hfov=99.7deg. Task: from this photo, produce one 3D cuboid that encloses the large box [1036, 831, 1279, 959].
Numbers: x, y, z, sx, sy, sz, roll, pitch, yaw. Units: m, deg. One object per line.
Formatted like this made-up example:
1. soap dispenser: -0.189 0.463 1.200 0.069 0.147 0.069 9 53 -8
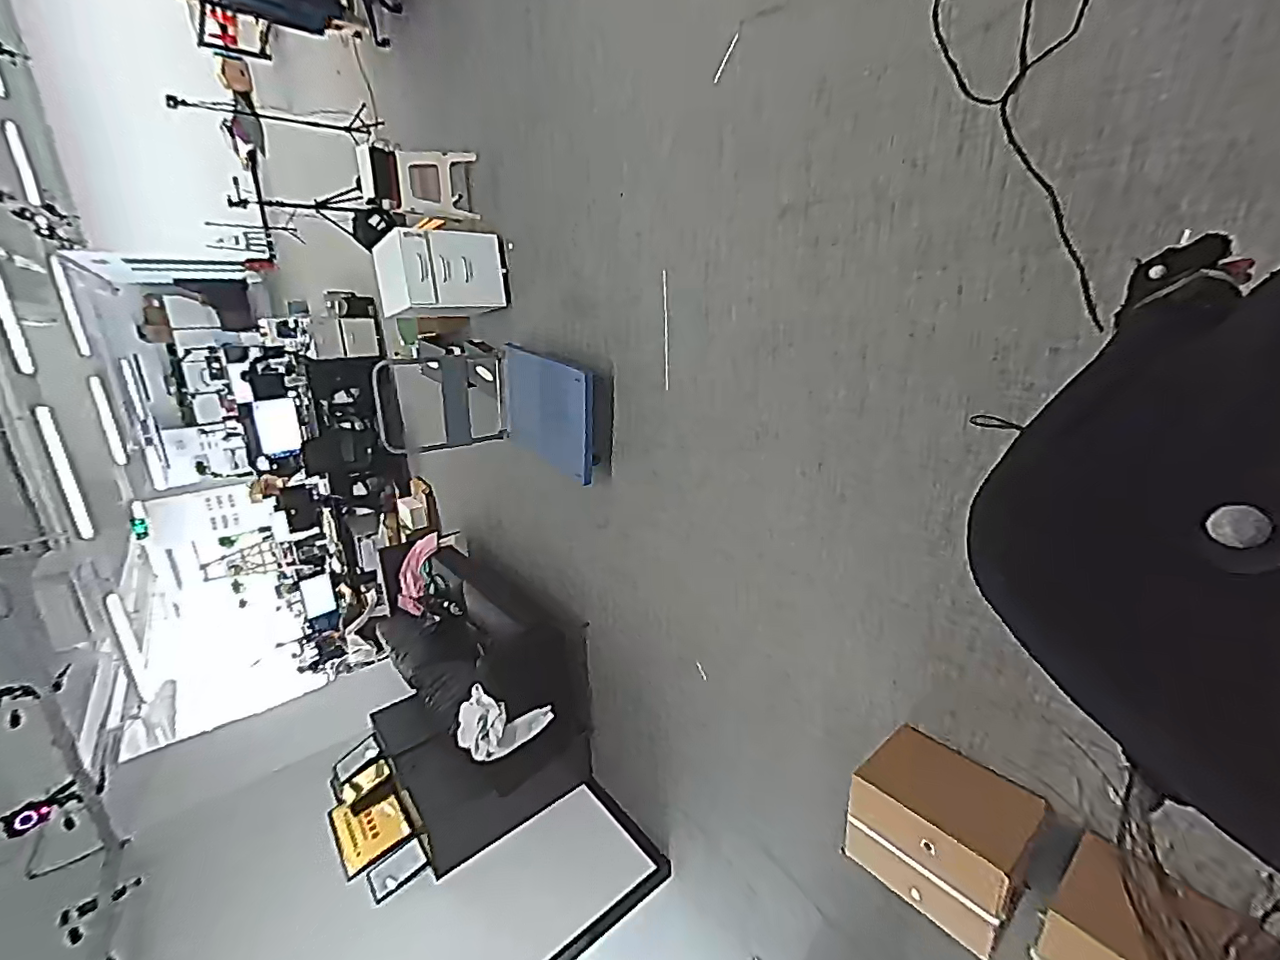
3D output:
1. large box: 1.171 1.116 1.211 0.408 0.320 0.320 20 117 46
